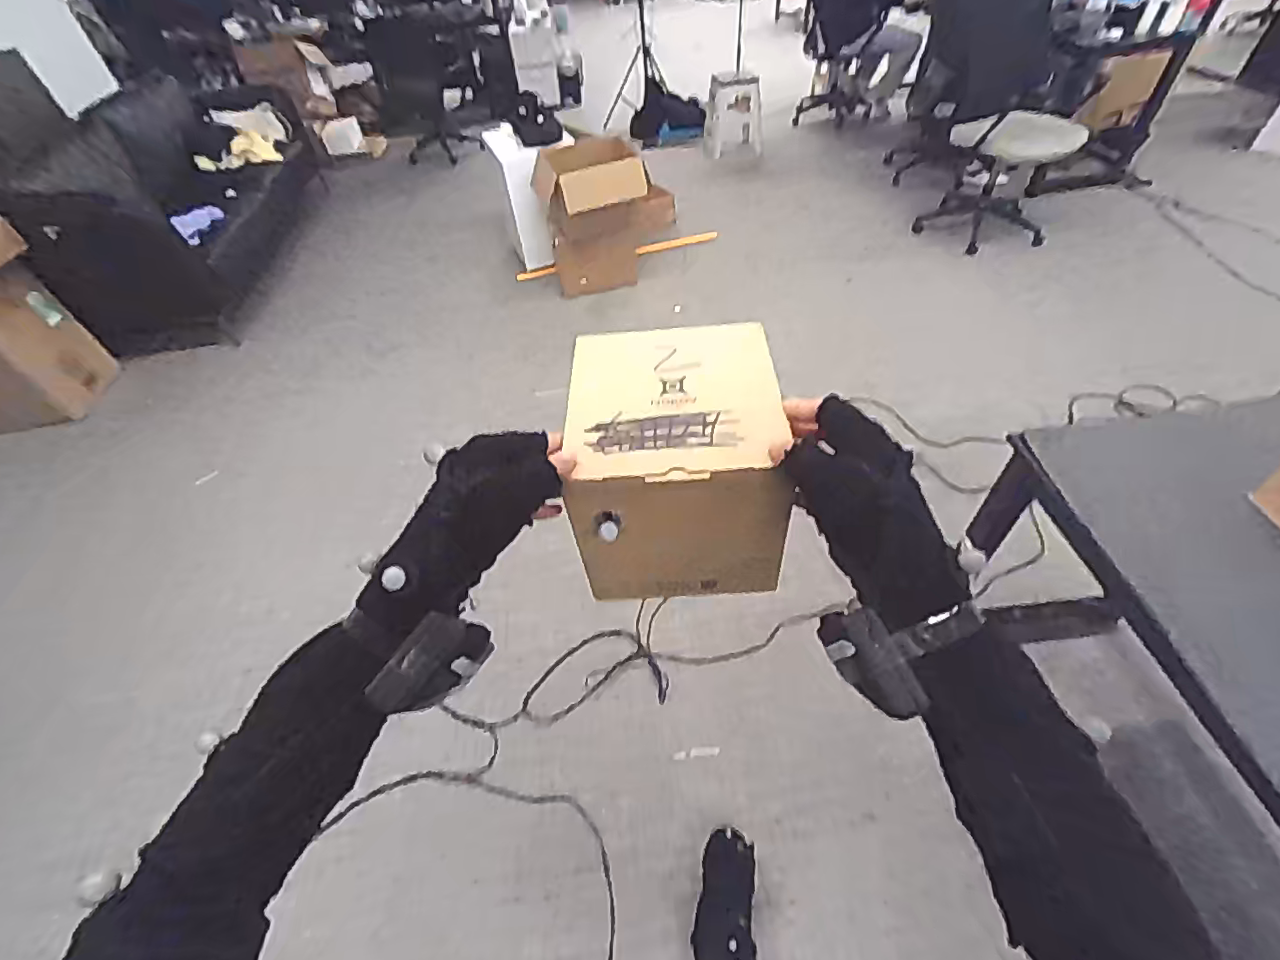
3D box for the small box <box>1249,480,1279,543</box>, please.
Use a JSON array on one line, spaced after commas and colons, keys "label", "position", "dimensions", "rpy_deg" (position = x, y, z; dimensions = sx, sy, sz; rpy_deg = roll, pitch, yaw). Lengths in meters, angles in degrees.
[{"label": "small box", "position": [1.052, 0.040, 0.756], "dimensions": [0.179, 0.176, 0.168], "rpy_deg": [-5, 48, 1]}]
